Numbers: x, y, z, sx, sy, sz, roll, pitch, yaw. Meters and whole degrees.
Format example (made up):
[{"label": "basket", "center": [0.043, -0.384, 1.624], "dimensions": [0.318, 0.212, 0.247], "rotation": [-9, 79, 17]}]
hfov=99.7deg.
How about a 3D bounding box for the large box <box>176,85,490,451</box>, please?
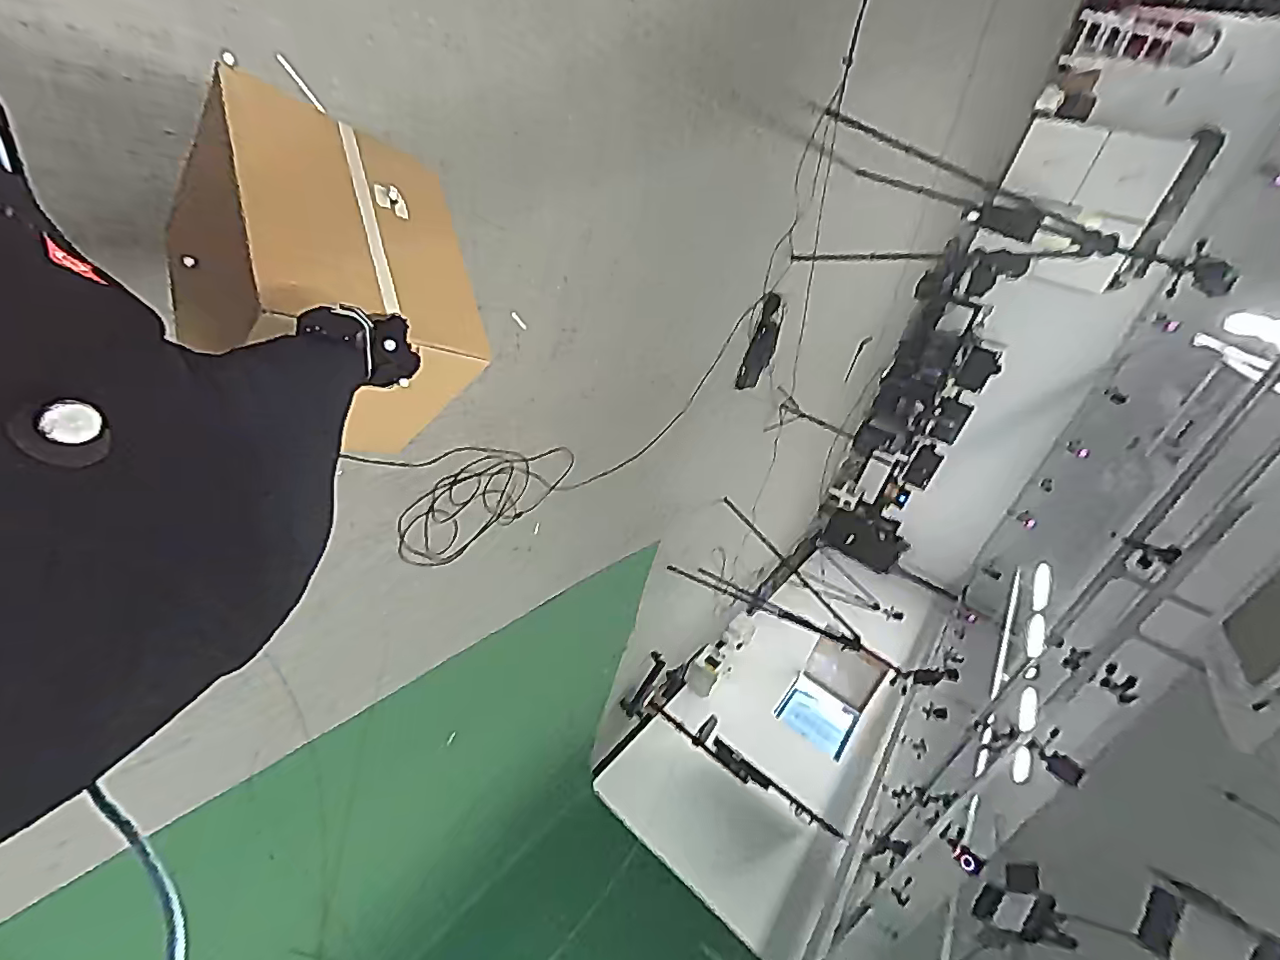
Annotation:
[{"label": "large box", "center": [-0.504, -0.291, 0.875], "dimensions": [0.320, 0.408, 0.320], "rotation": [-32, 161, 33]}]
